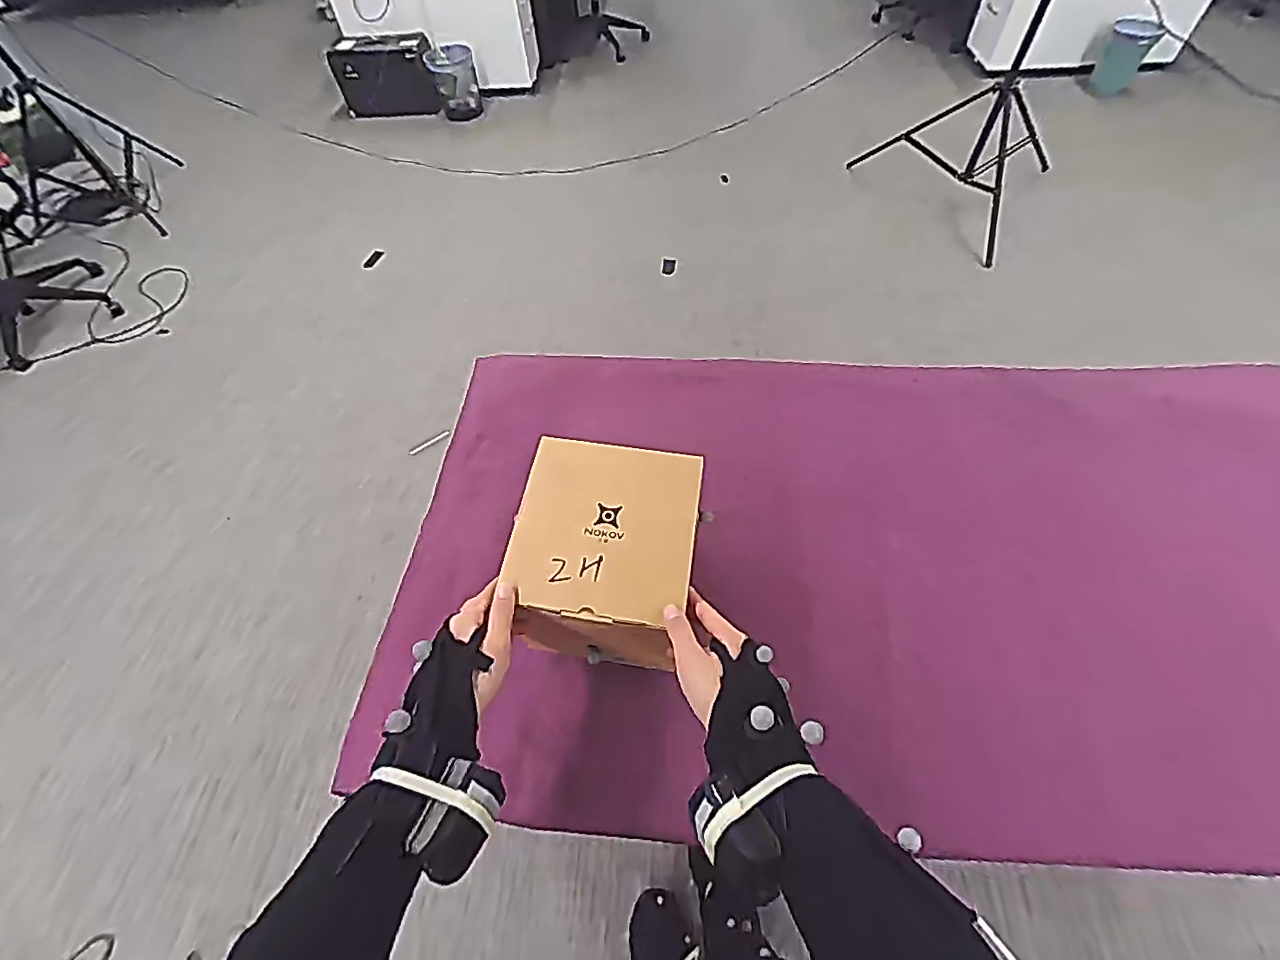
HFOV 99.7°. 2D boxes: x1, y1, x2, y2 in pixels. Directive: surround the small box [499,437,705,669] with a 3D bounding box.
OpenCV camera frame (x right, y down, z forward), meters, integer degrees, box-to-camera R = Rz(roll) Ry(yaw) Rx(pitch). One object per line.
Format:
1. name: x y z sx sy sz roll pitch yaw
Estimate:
1. small box: -0.030 0.082 0.569 0.168 0.176 0.179 8 60 5
